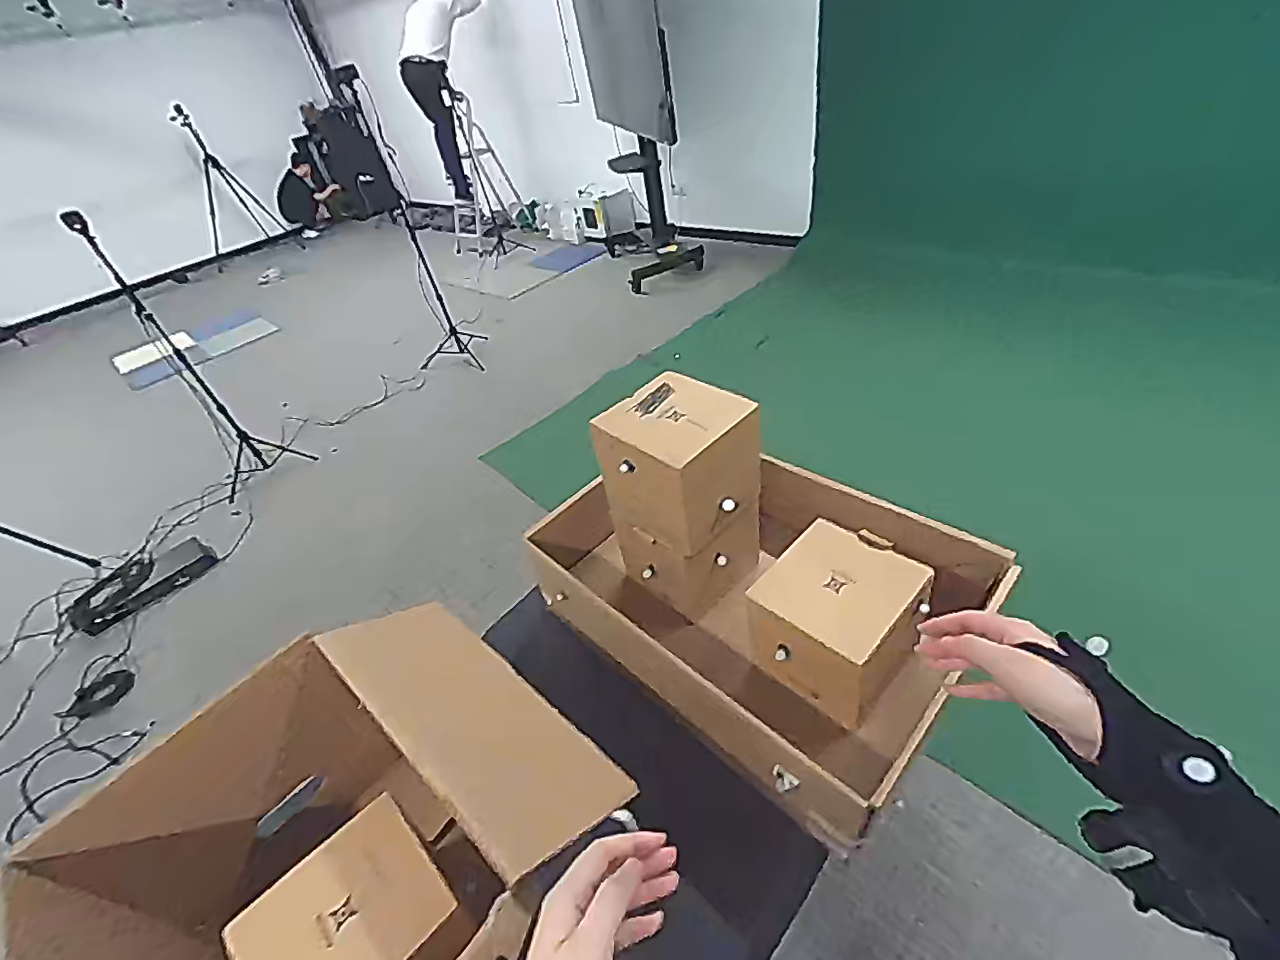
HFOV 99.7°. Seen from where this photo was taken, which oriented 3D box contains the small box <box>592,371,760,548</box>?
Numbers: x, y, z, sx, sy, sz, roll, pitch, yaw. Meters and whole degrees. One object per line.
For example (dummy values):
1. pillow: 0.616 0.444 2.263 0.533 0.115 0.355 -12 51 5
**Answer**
1. small box: 0.057 -0.031 0.795 0.168 0.176 0.179 -38 48 -27
